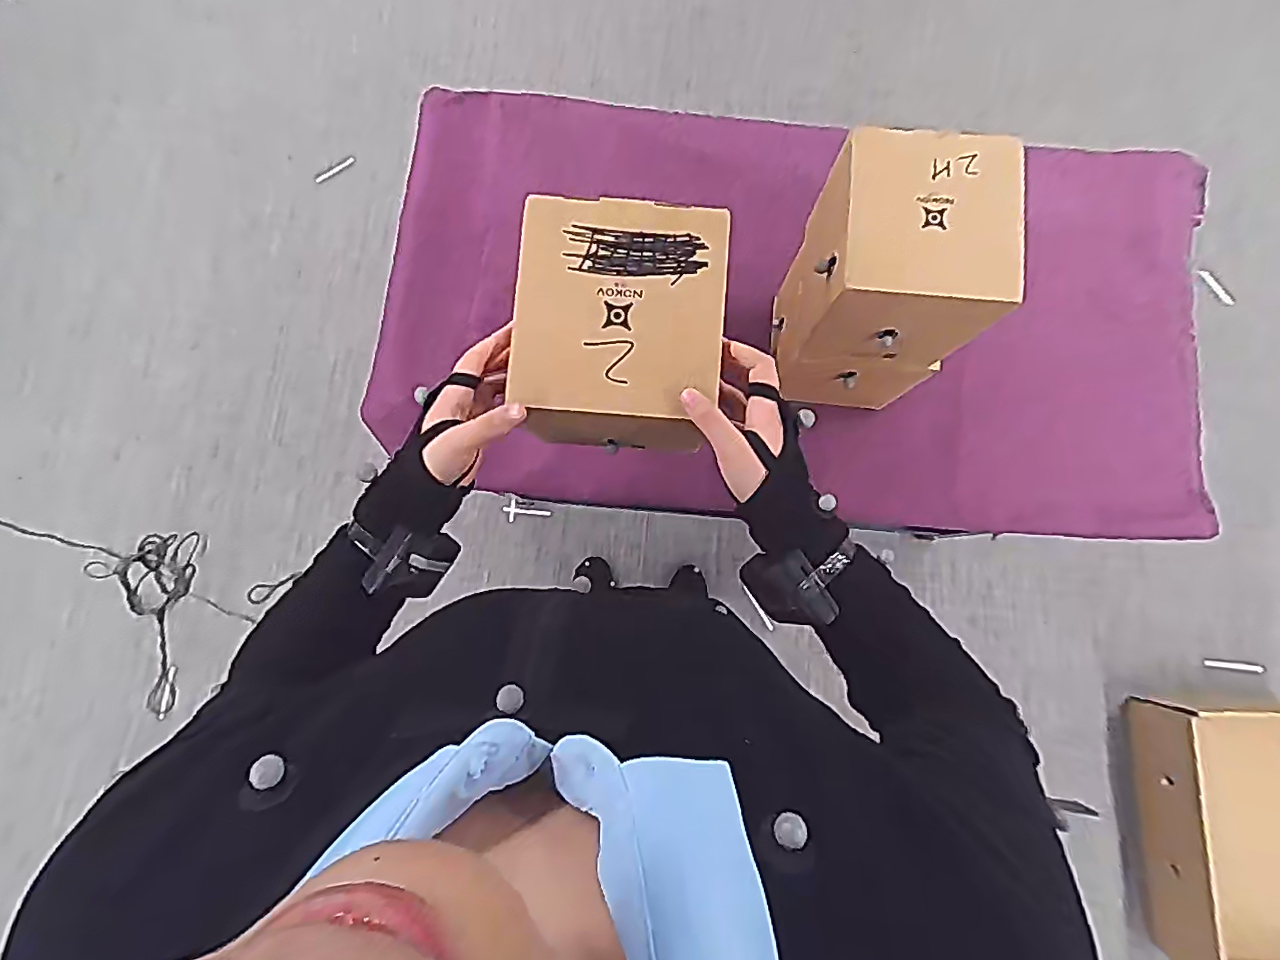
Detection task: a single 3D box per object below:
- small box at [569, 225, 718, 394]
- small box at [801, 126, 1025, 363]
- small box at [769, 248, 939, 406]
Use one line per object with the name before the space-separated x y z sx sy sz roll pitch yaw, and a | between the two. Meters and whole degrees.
small box | 0.006 -0.229 0.761 0.179 0.176 0.168 6 82 1
small box | 0.283 -0.243 0.595 0.168 0.176 0.179 6 81 2
small box | 0.291 -0.209 0.756 0.179 0.176 0.168 6 81 2
